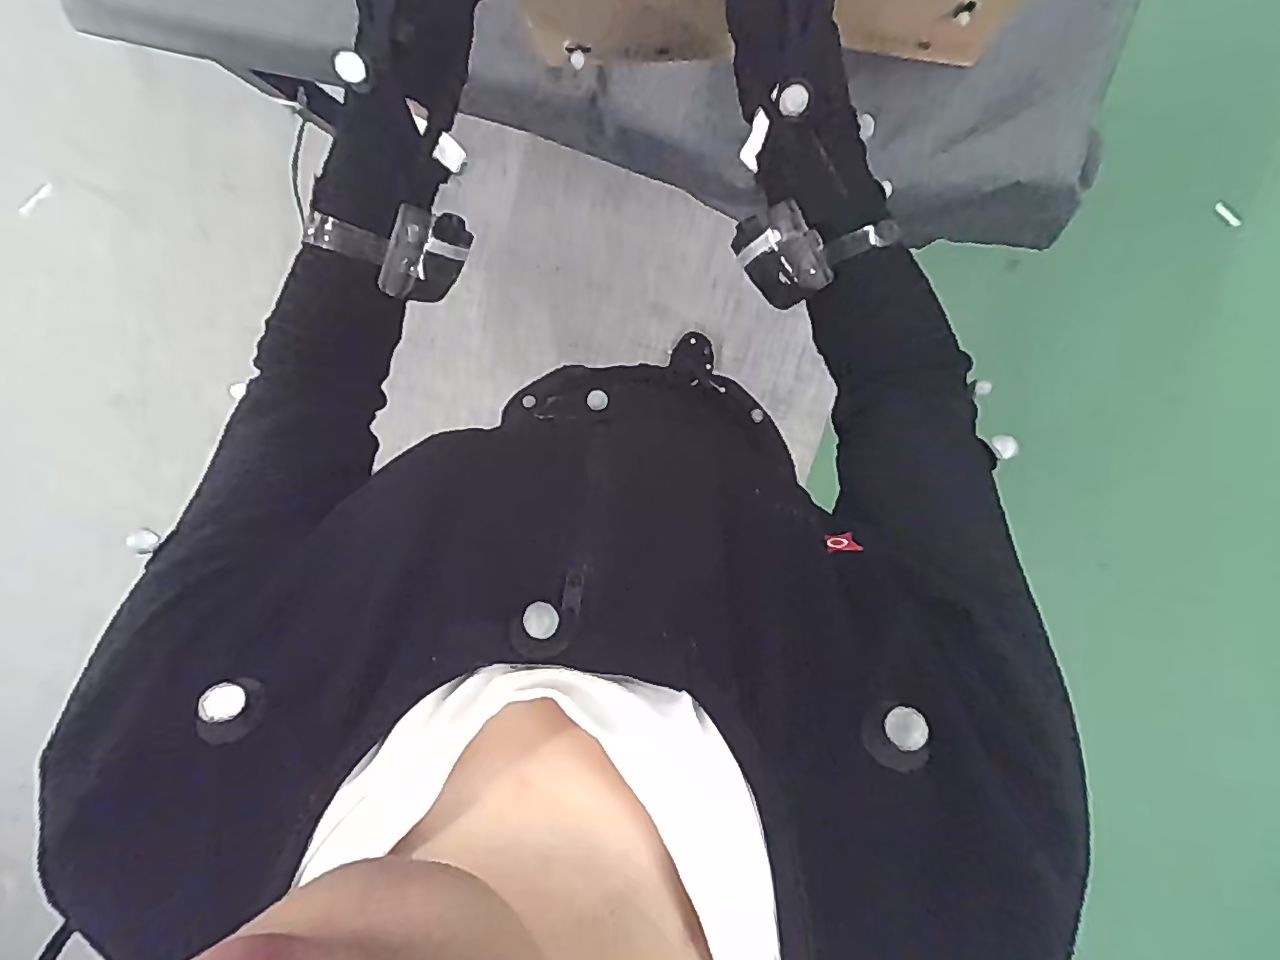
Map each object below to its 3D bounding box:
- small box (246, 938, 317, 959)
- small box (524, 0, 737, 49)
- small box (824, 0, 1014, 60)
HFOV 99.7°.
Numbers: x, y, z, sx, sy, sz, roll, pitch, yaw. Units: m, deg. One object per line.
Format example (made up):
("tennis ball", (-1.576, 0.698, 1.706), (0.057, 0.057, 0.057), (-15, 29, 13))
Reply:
("small box", (-1.014, 1.396, 1.457), (0.179, 0.176, 0.168), (22, 102, 1))
("small box", (-0.008, -0.437, 0.378), (0.168, 0.176, 0.179), (1, 105, 5))
("small box", (0.279, -0.529, 0.491), (0.168, 0.176, 0.179), (11, 101, 3))
